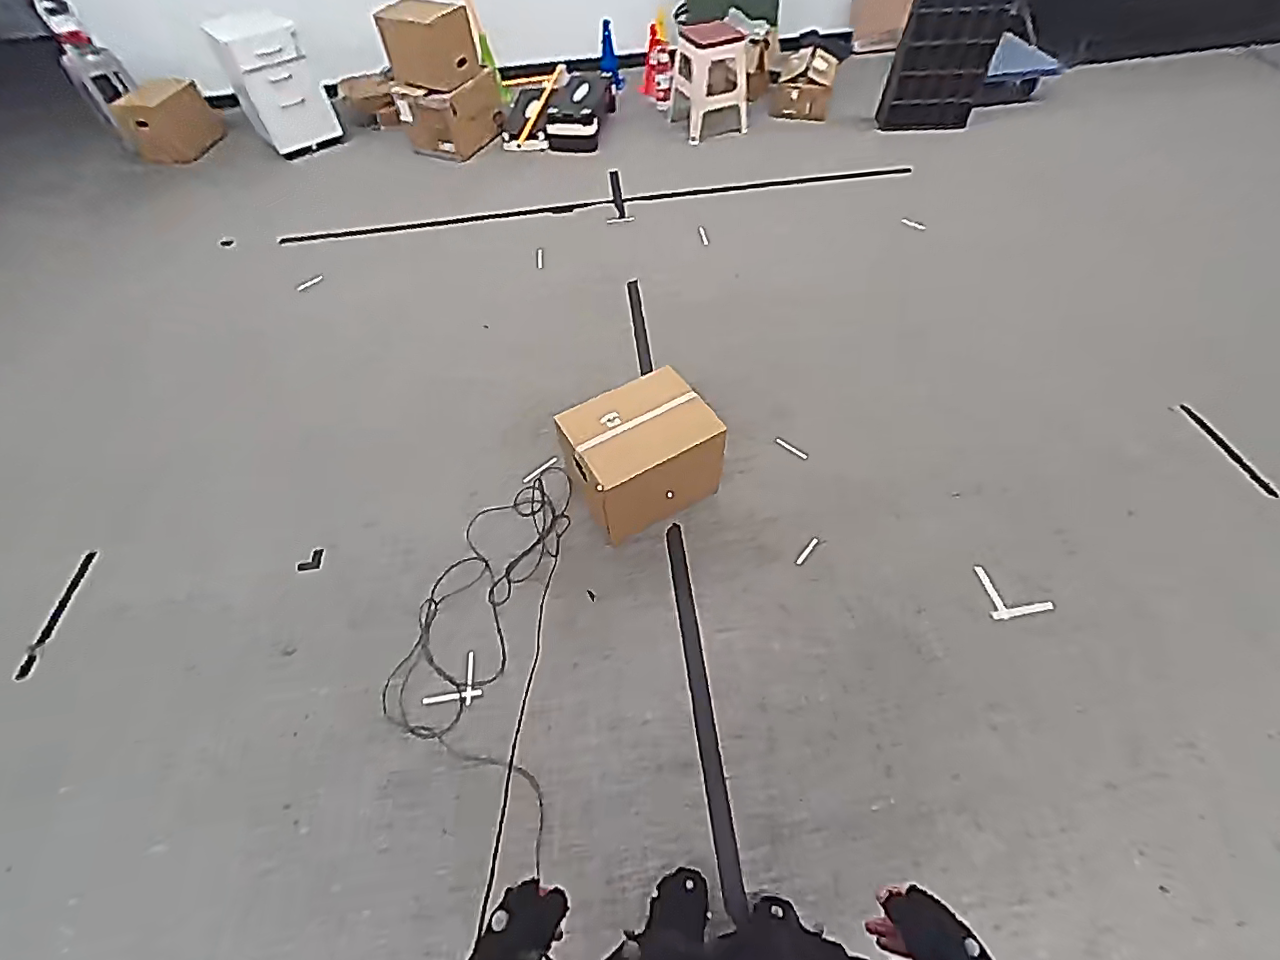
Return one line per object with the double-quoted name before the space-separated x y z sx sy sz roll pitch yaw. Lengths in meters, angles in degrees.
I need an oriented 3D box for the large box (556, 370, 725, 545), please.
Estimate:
"large box" 0.006 -0.068 1.683 0.408 0.320 0.320 -28 58 -15
